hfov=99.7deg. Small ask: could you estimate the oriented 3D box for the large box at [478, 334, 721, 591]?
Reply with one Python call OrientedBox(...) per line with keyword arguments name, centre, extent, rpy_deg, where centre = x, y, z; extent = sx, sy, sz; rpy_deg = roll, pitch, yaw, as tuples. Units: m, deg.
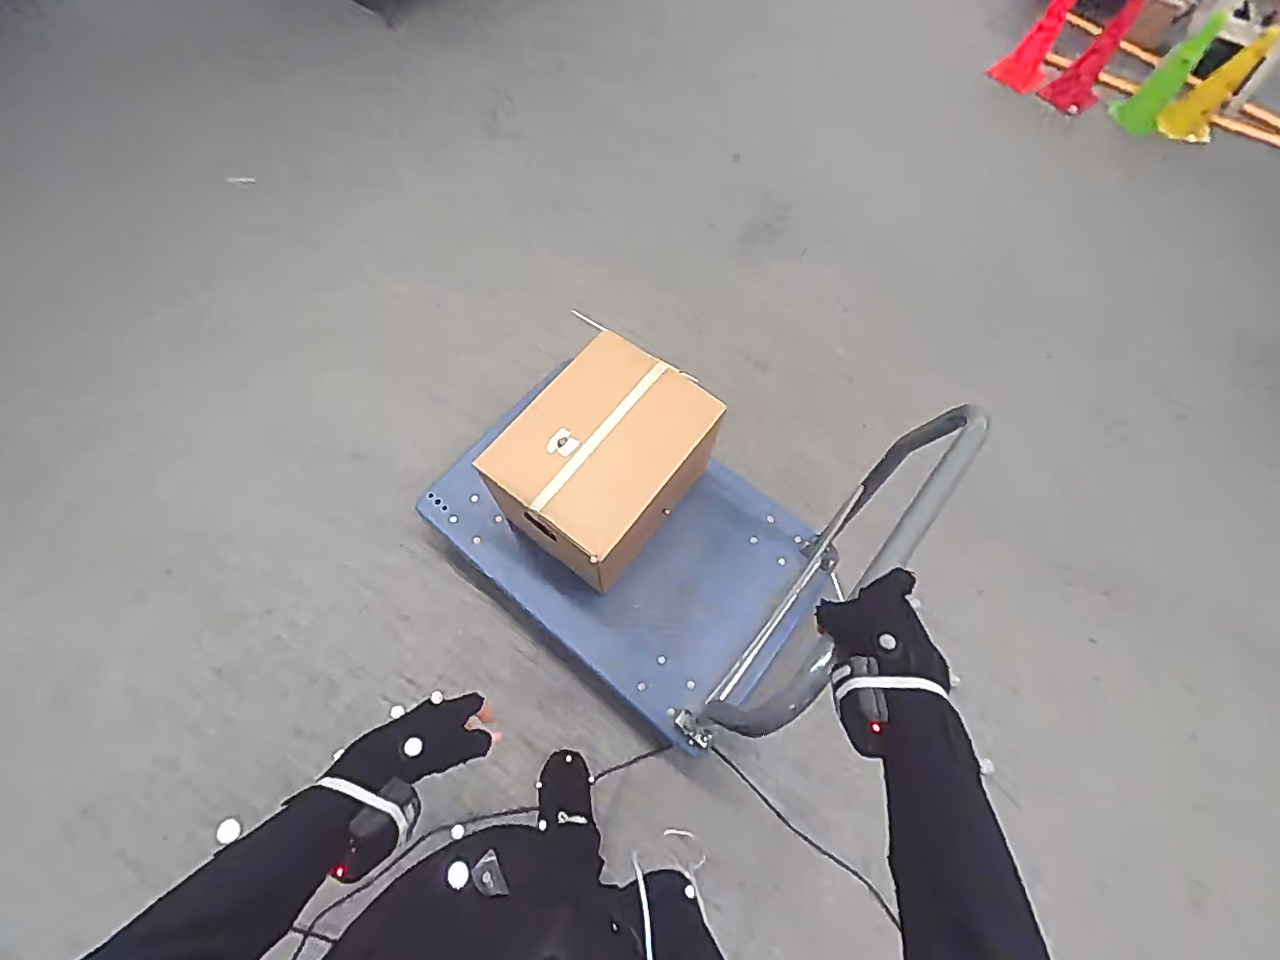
OrientedBox(name="large box", centre=(-0.075, -0.027, 1.188), extent=(0.320, 0.320, 0.408), rpy_deg=(35, 71, 13))
